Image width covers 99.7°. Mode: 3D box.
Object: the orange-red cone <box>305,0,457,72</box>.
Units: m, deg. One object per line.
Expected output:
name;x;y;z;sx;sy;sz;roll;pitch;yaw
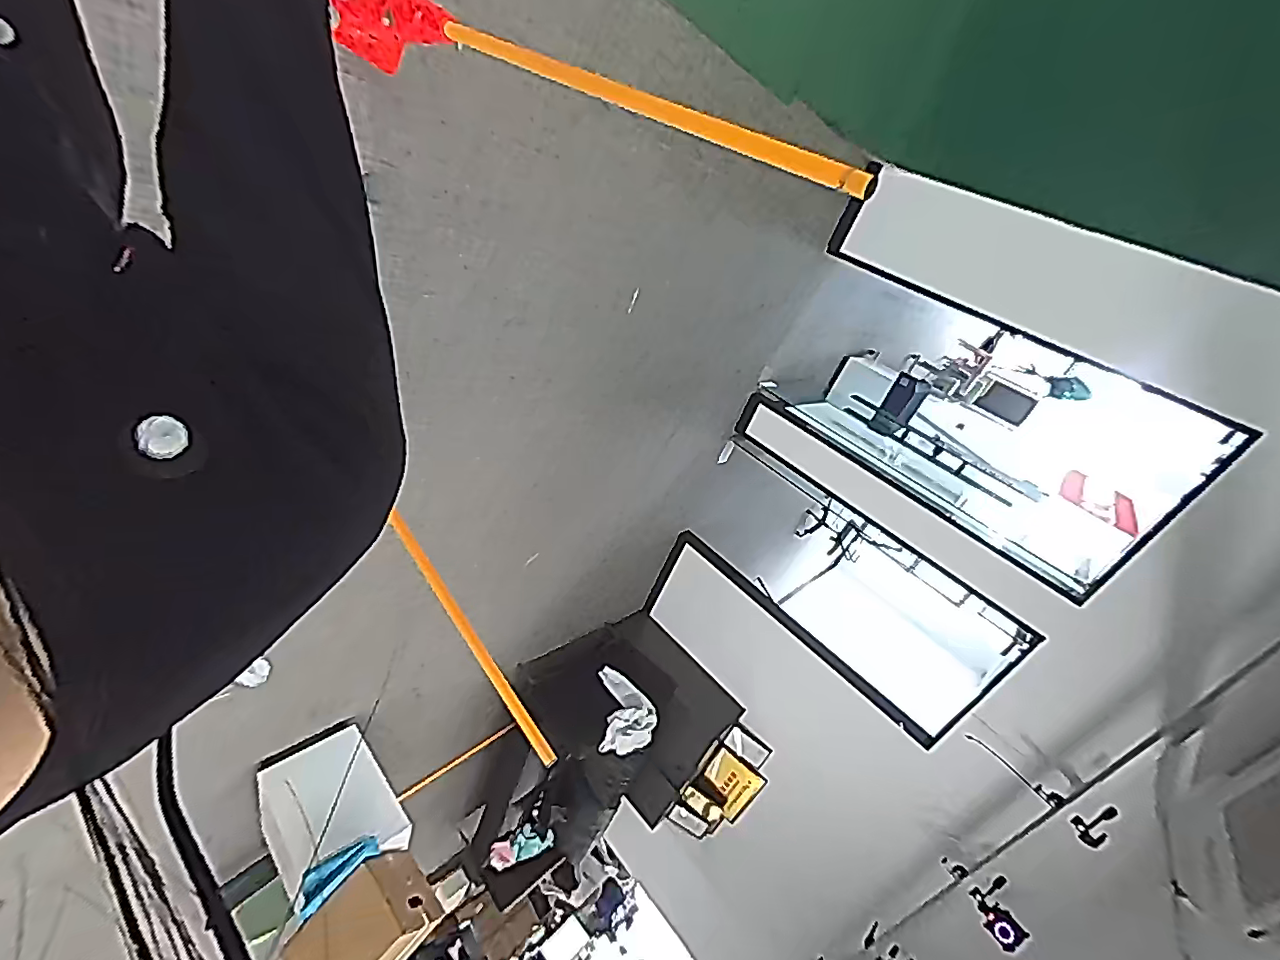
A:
orange-red cone;-0.457;-0.904;1.043;0.198;0.360;0.199;3;123;-56
